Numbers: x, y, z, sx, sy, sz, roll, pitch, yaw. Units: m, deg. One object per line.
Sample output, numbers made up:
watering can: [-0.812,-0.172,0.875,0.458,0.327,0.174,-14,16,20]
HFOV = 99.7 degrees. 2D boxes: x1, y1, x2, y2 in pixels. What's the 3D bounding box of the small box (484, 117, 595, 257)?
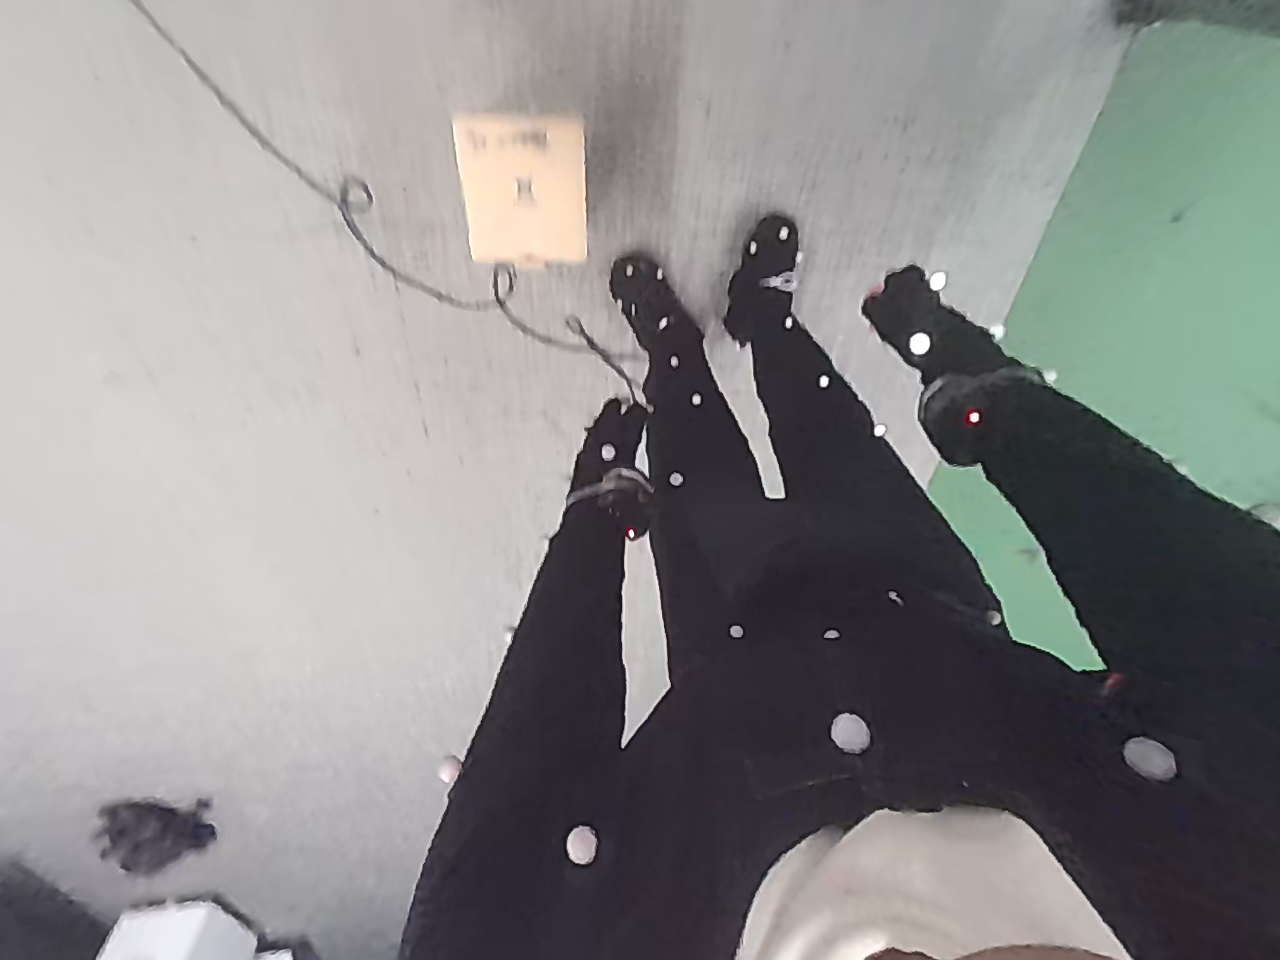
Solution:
small box: [-0.173,-0.511,0.936,0.168,0.176,0.179,6,125,-10]
